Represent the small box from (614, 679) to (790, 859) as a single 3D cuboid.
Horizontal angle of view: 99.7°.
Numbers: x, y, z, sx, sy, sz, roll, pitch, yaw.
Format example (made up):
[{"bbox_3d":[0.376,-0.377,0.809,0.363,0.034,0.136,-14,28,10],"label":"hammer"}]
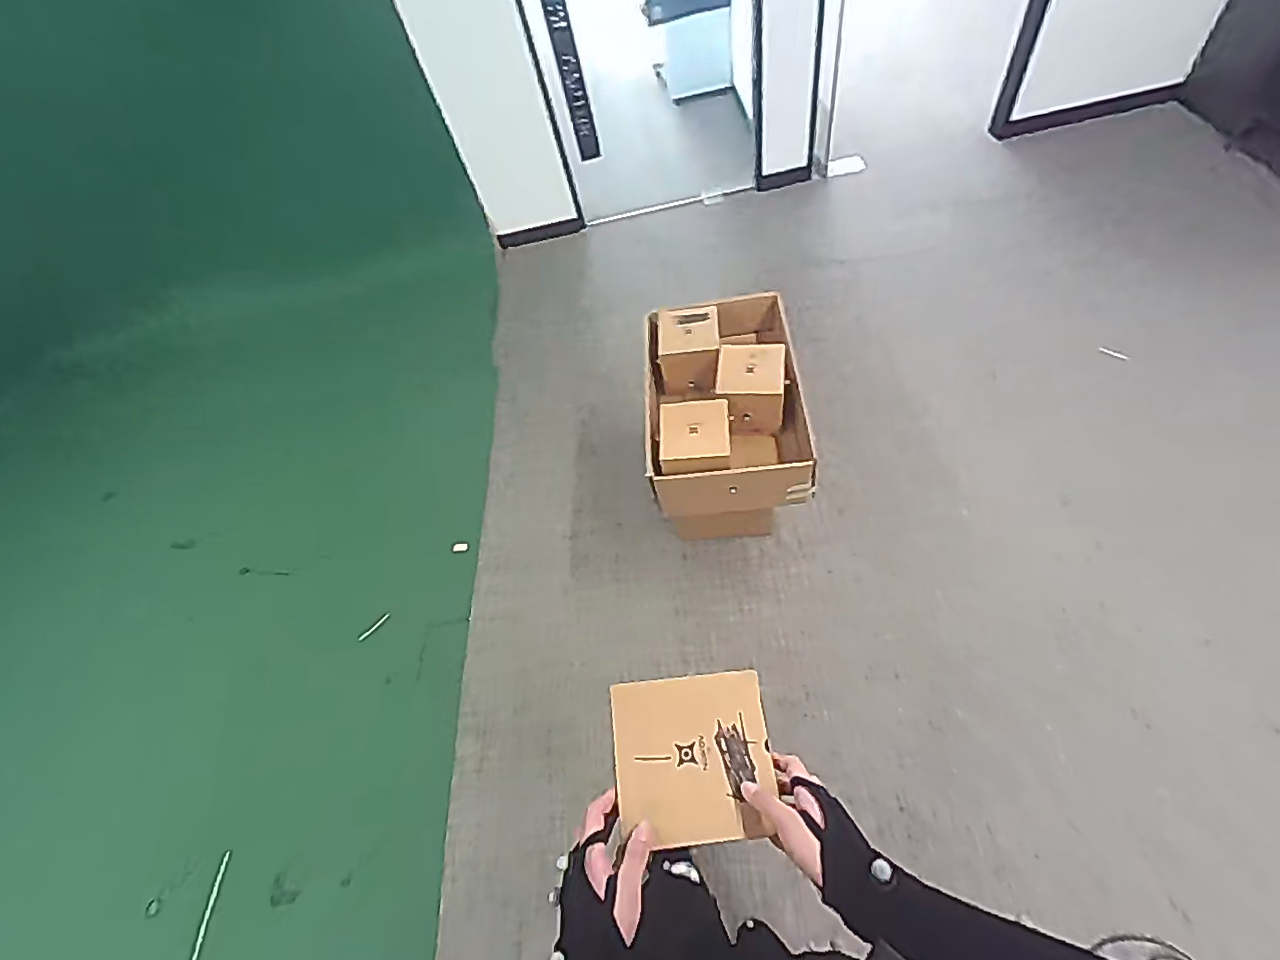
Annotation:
[{"bbox_3d":[0.060,0.343,0.649,0.179,0.176,0.168,-4,59,-3],"label":"small box"}]
